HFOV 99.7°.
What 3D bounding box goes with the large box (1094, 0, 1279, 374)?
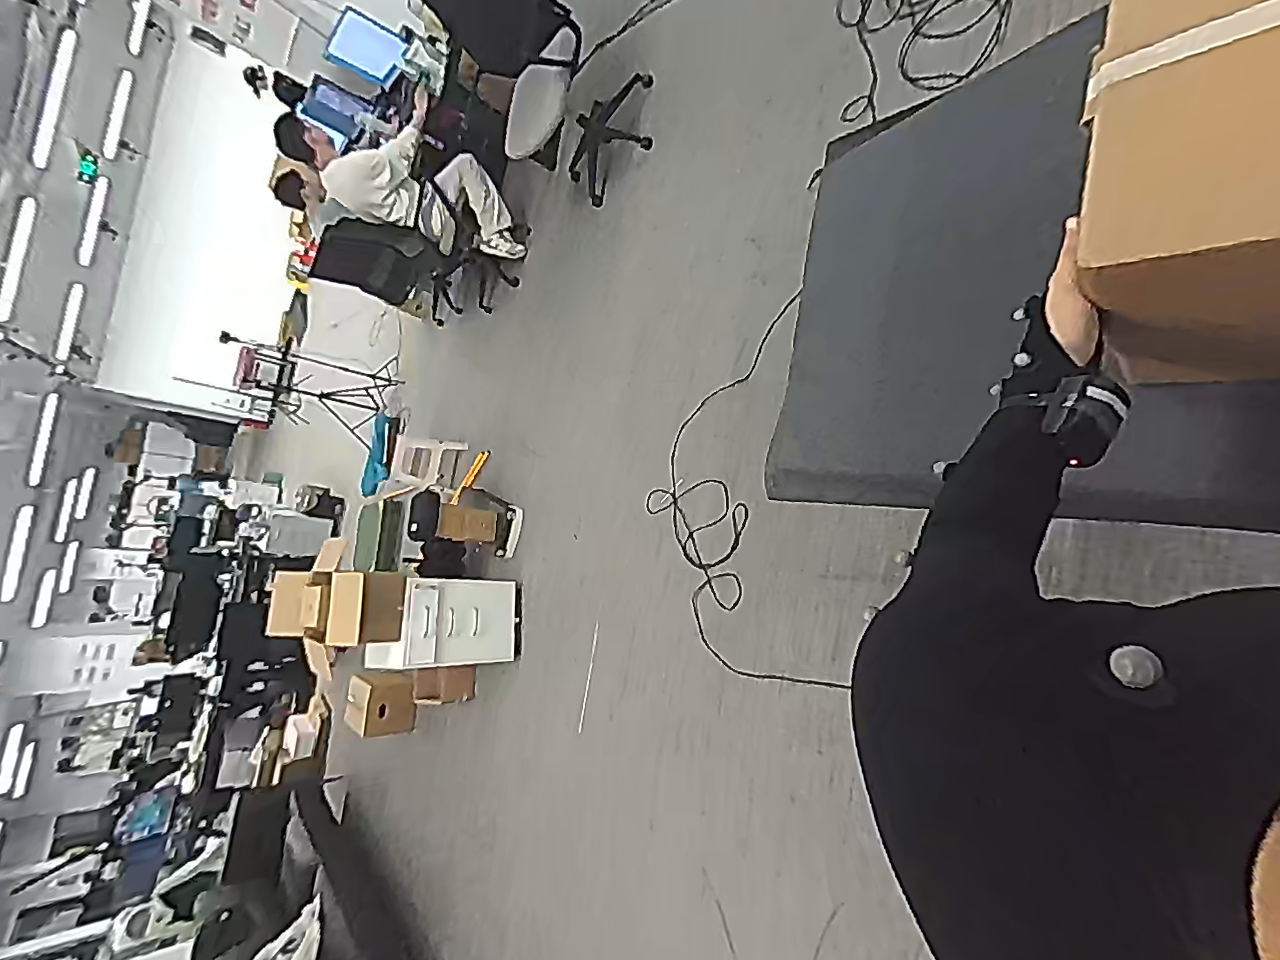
[{"bbox_3d":[0.617,-0.281,0.385,0.408,0.320,0.320,7,86,48],"label":"large box"}]
